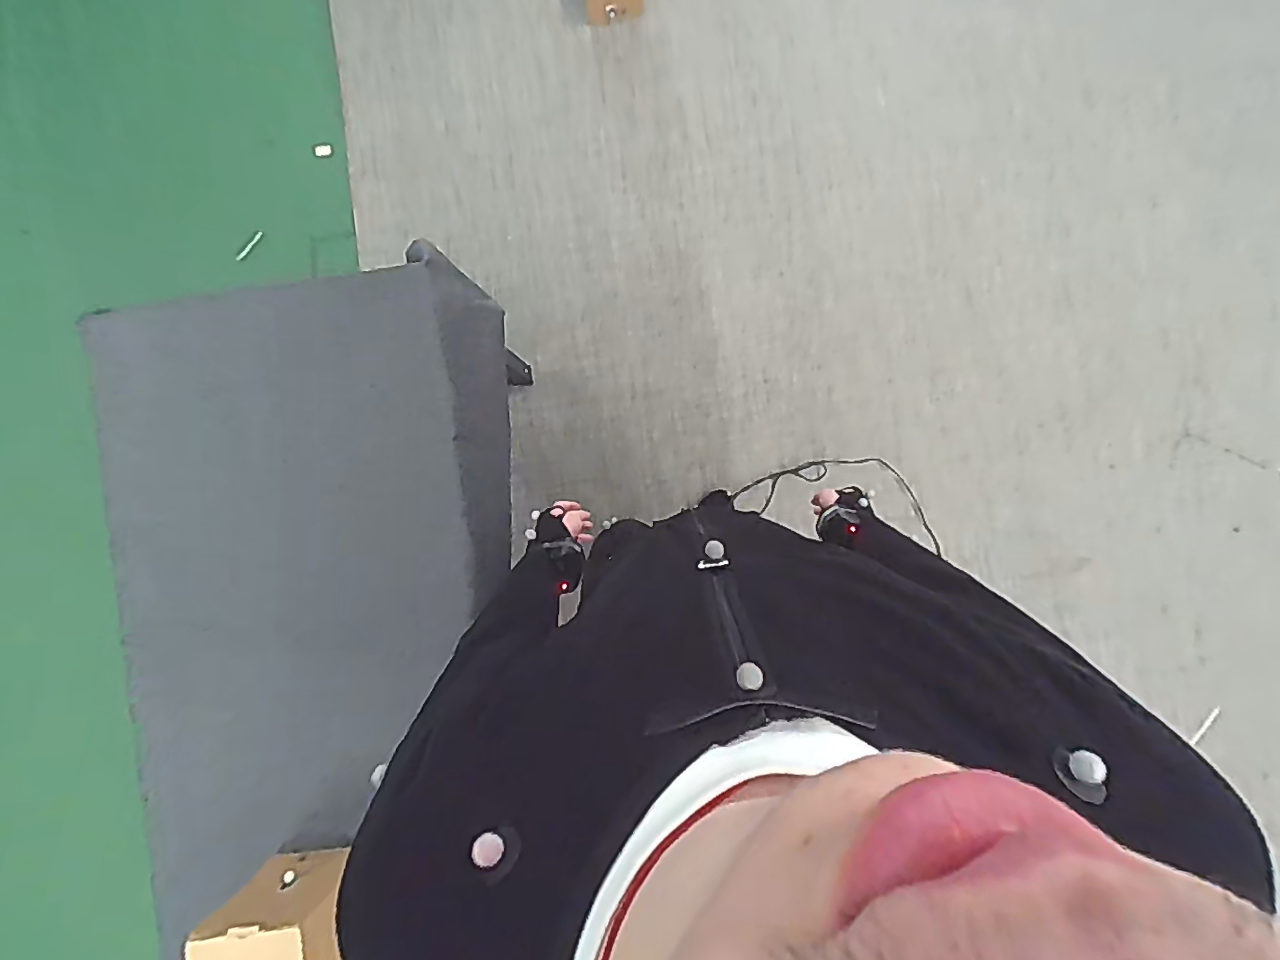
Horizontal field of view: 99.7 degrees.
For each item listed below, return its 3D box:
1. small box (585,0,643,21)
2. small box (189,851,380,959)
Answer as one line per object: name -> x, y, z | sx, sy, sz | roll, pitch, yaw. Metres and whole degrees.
small box -> -0.085, -1.447, 1.510 | 0.168, 0.176, 0.179 | -5, 89, 6
small box -> -0.516, 0.688, 0.805 | 0.168, 0.176, 0.179 | -8, 88, 3
